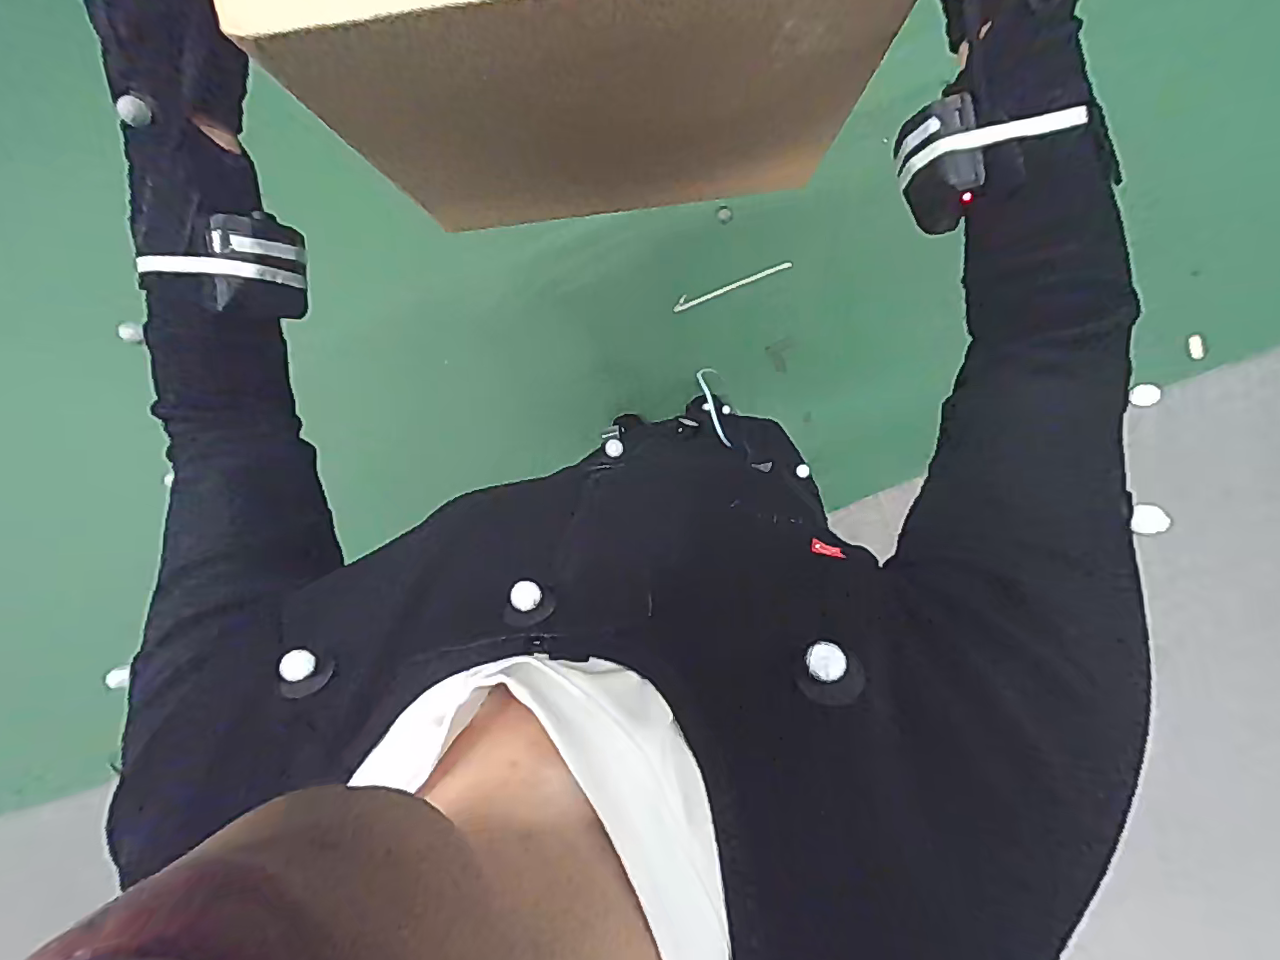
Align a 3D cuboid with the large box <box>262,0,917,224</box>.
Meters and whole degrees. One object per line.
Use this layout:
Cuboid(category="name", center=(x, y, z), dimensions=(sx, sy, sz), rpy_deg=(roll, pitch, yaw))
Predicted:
Cuboid(category="large box", center=(-0.031, -0.440, 0.435), dimensions=(0.408, 0.320, 0.320), rpy_deg=(-6, 96, 2))
